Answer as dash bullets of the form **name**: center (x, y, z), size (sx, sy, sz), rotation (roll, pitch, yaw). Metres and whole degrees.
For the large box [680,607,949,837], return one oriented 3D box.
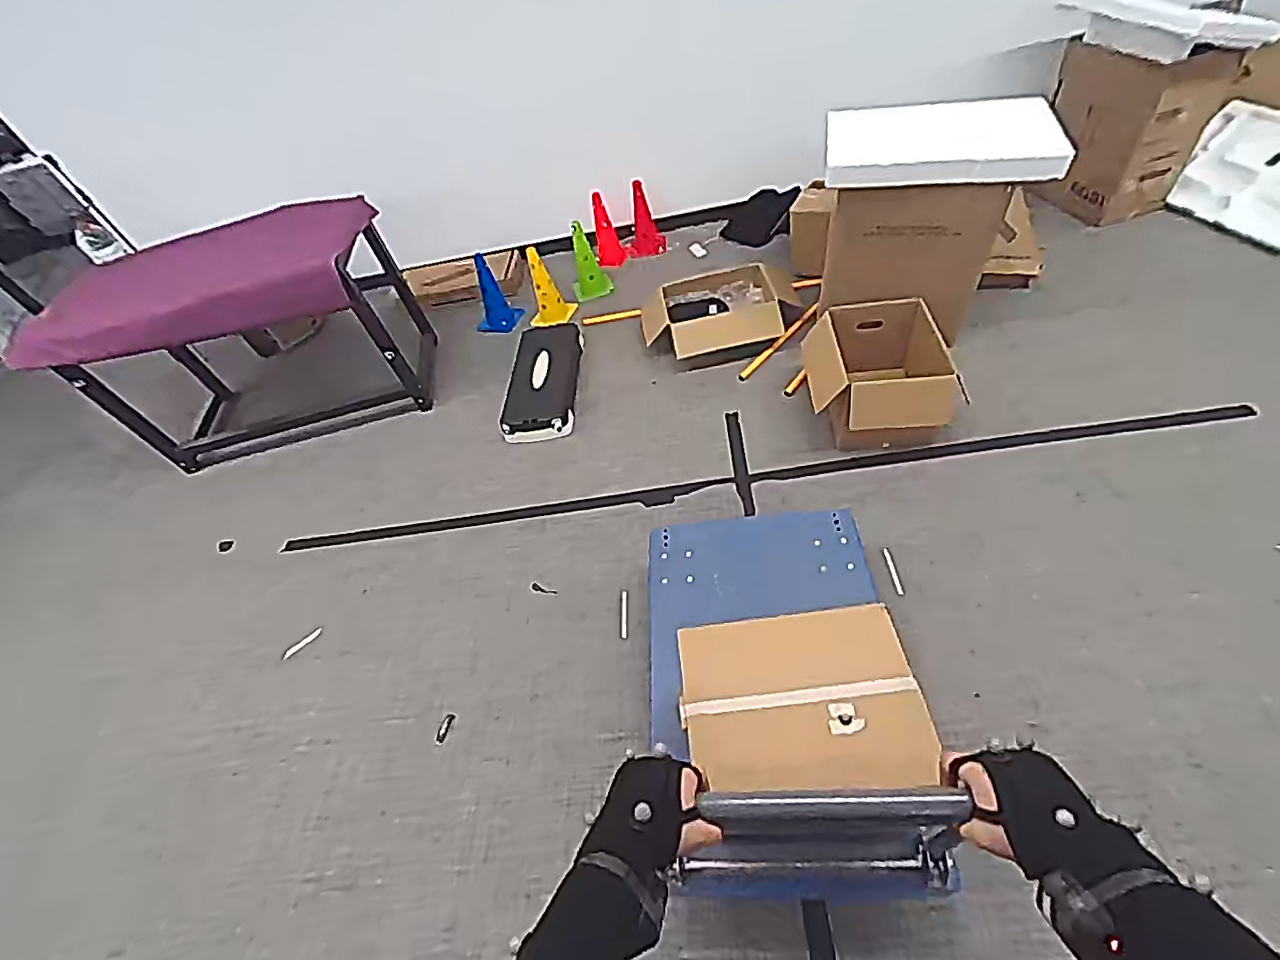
- **large box**: center (0.305, 0.485, 1.070), size (0.408, 0.320, 0.320), rotation (-8, 50, 4)
